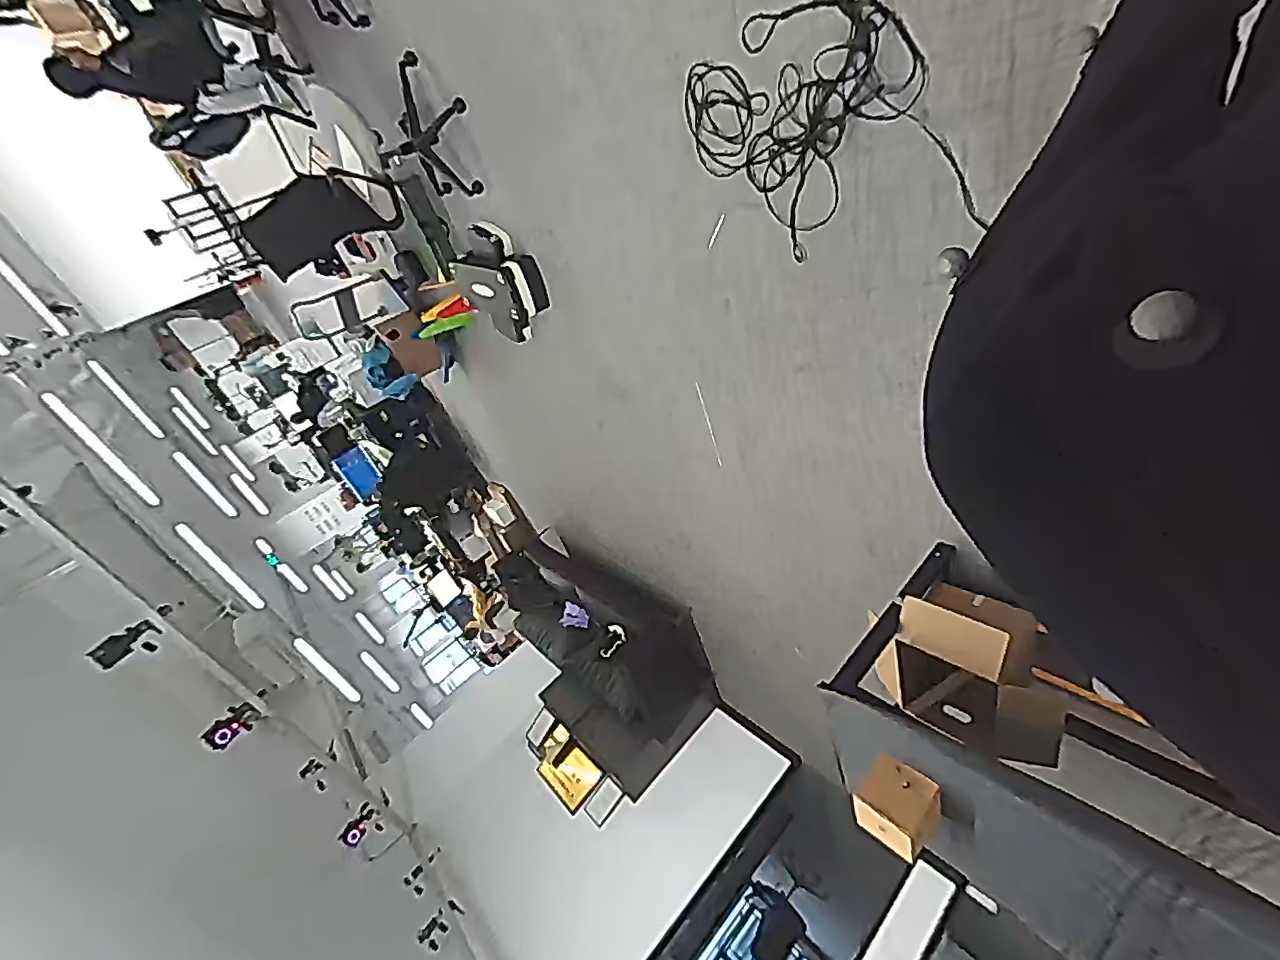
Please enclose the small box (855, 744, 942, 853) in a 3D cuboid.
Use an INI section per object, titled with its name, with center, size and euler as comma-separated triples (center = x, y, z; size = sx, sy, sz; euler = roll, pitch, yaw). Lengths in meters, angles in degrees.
[small box]
center = 0.737, 0.898, 1.535
size = 0.168, 0.176, 0.179
euler = 21, 141, 47
